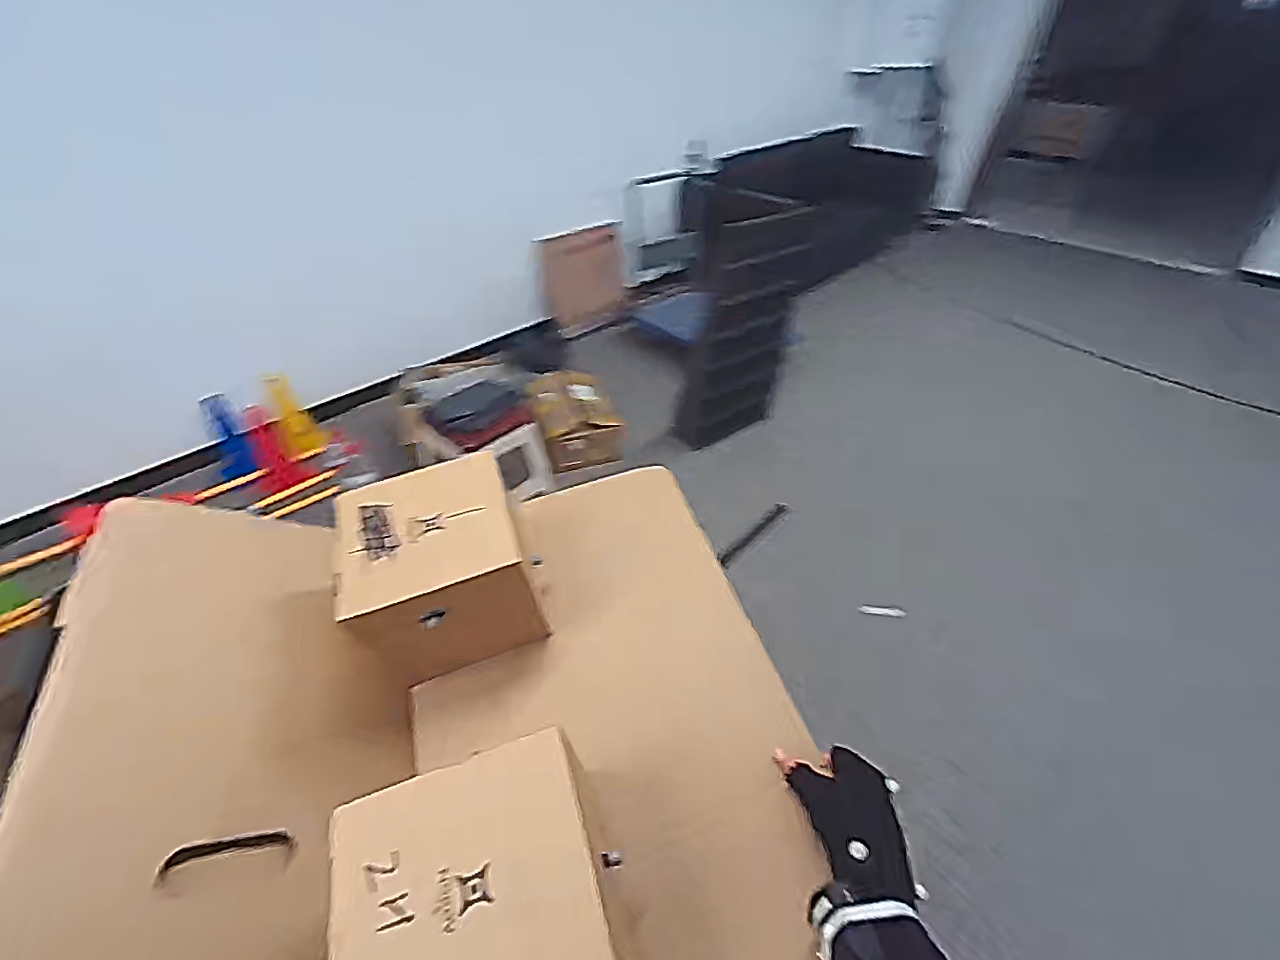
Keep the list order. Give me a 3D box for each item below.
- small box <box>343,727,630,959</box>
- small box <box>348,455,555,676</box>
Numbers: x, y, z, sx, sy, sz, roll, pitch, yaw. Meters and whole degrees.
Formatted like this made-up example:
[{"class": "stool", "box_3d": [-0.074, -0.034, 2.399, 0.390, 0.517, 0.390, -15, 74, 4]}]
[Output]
[{"class": "small box", "box_3d": [-0.111, 0.329, 0.435, 0.179, 0.176, 0.168, -16, 50, -8]}, {"class": "small box", "box_3d": [-0.214, 0.104, 0.635, 0.179, 0.176, 0.168, -17, 51, -10]}]
